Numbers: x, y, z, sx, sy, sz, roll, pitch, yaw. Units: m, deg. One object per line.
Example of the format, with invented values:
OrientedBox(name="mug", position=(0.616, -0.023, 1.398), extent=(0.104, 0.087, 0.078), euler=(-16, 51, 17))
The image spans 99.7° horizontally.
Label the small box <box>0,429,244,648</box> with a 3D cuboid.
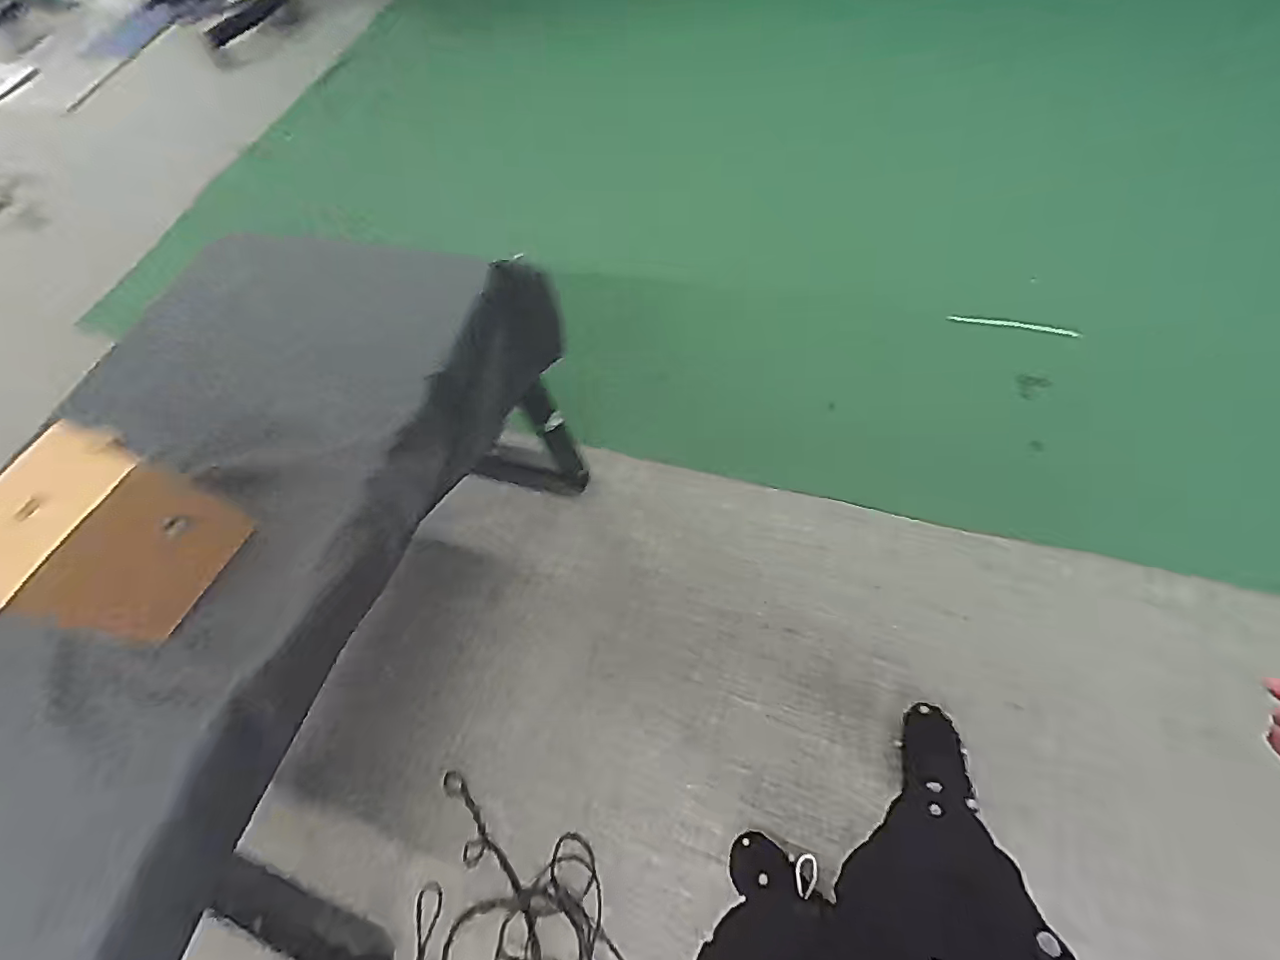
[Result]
OrientedBox(name="small box", position=(-0.620, 0.073, 0.637), extent=(0.168, 0.176, 0.179), euler=(19, 68, 21))
